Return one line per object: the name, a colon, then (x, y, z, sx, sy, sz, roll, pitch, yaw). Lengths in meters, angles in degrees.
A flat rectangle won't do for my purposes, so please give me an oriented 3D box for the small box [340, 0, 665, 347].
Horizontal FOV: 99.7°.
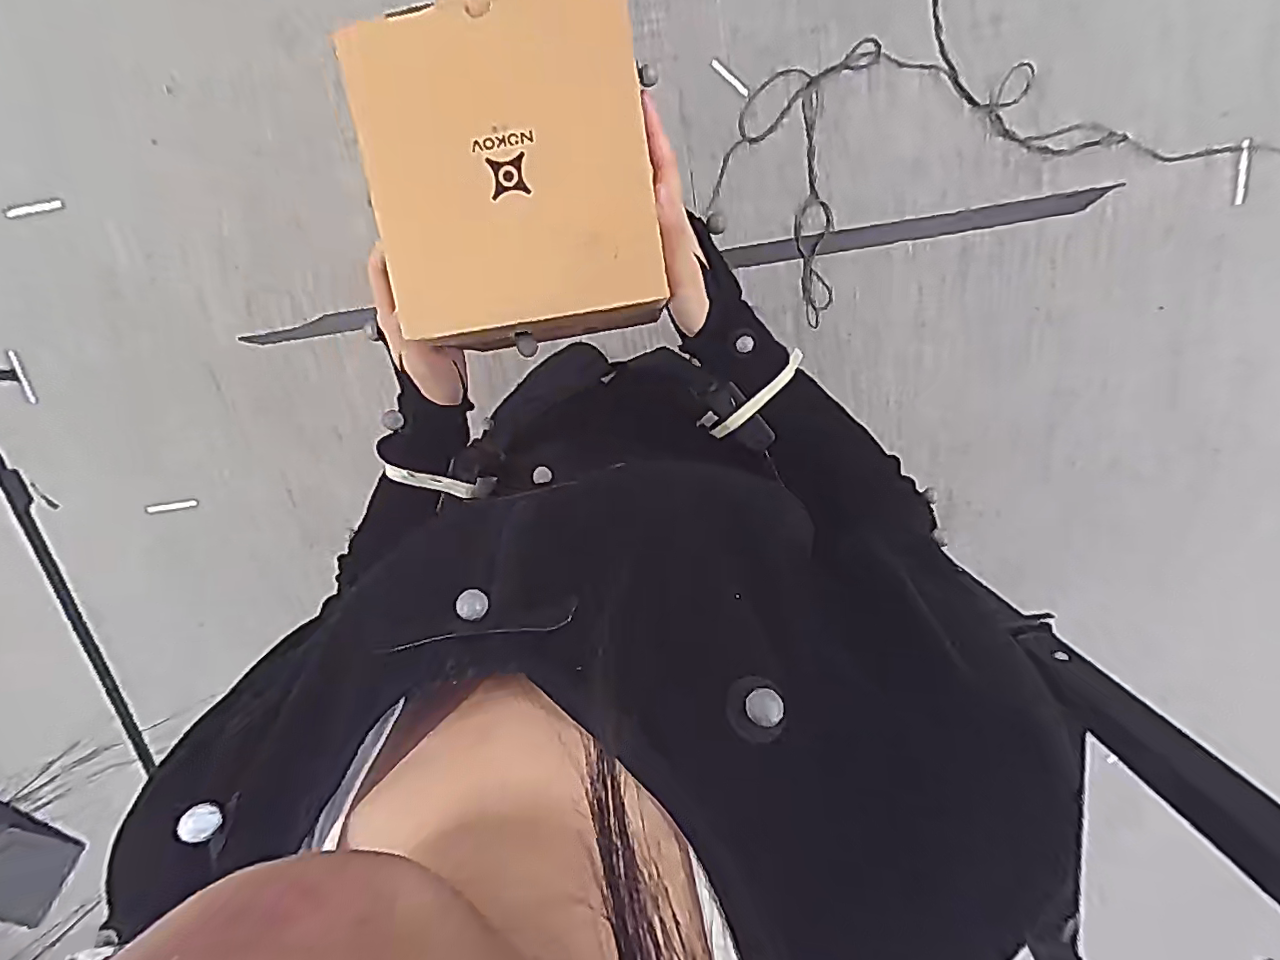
small box: (-0.074, -0.195, 0.391, 0.168, 0.176, 0.179, -8, 100, 1)
